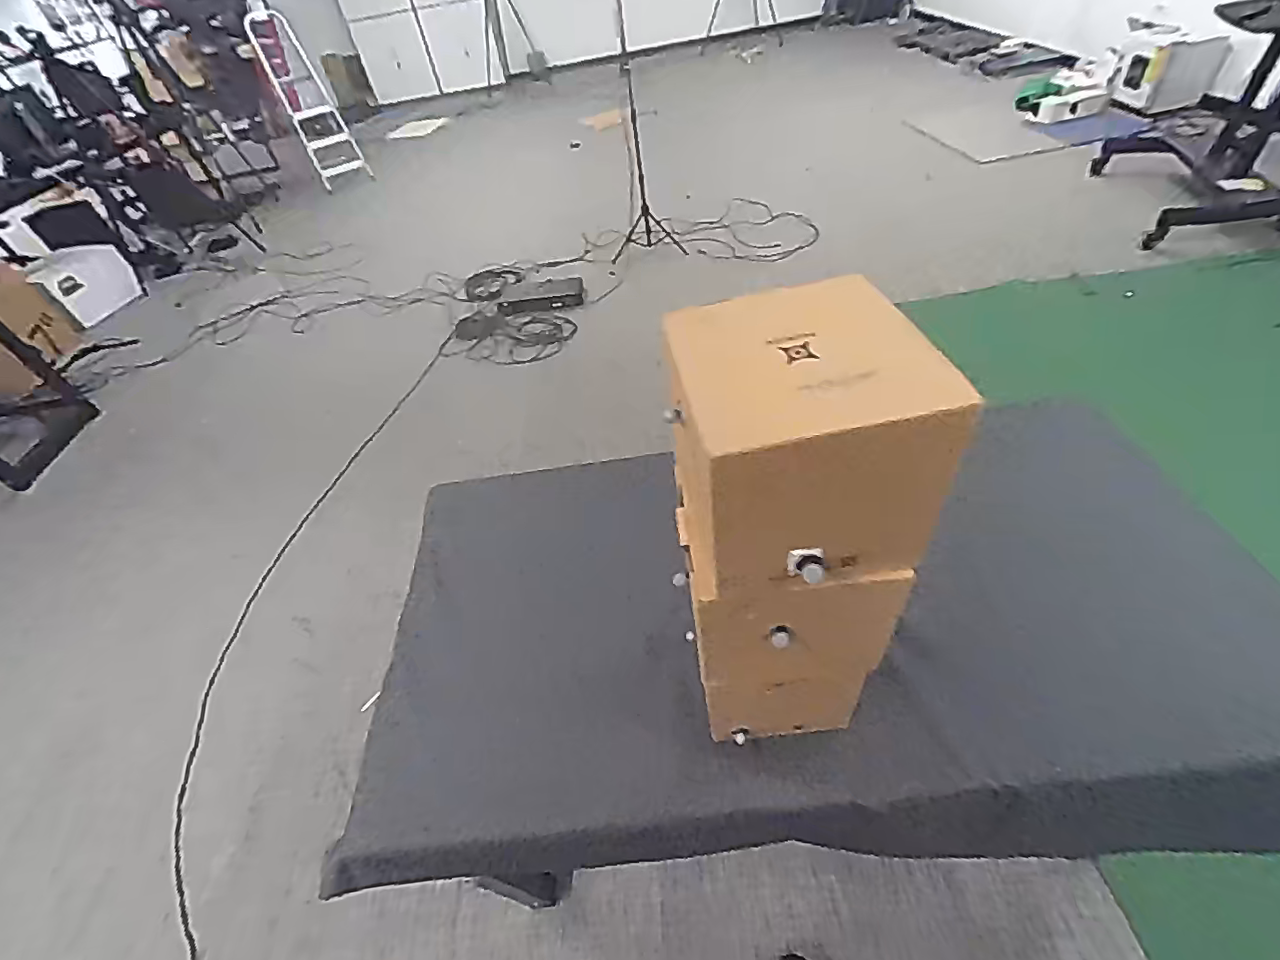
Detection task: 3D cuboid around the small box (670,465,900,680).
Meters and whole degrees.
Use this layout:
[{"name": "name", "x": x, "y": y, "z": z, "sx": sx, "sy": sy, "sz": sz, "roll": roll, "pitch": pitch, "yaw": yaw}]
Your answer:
[{"name": "small box", "x": 0.134, "y": 0.084, "z": 0.551, "sx": 0.179, "sy": 0.176, "sz": 0.168, "roll": -9, "pitch": 43, "yaw": 1}]

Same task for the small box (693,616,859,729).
[{"name": "small box", "x": 0.153, "y": 0.191, "z": 0.669, "sx": 0.168, "sy": 0.176, "sz": 0.179, "roll": -8, "pitch": 44, "yaw": 3}]

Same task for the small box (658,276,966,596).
[{"name": "small box", "x": 0.115, "y": -0.034, "z": 0.437, "sx": 0.168, "sy": 0.176, "sz": 0.179, "roll": -12, "pitch": 46, "yaw": 0}]
